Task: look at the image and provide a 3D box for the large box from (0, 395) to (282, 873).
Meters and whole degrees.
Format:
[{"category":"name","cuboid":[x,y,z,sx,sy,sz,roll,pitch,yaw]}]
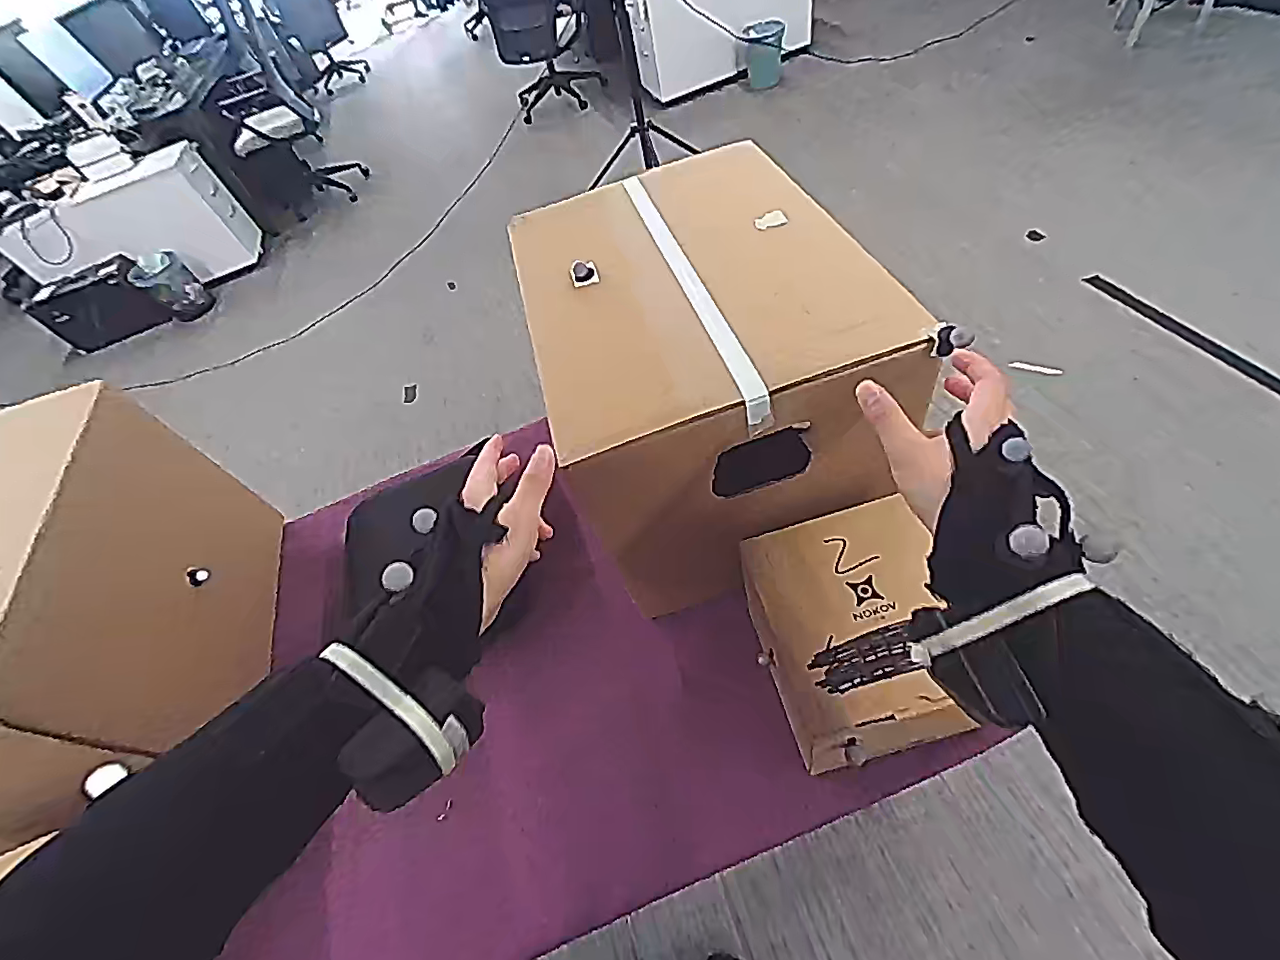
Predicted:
[{"category":"large box","cuboid":[-0.680,0.179,0.642,0.320,0.320,0.408,-23,54,-3]}]
